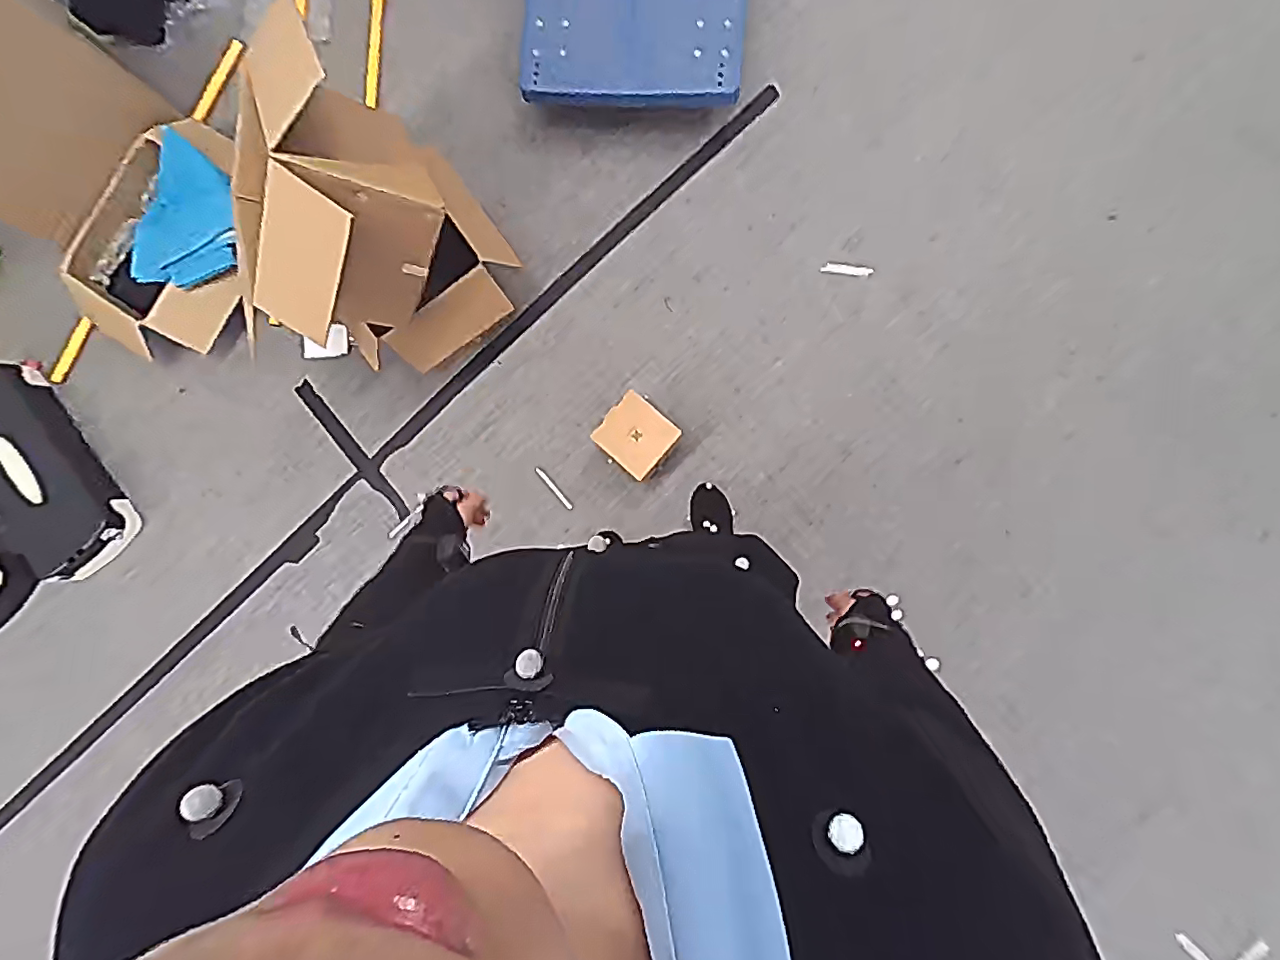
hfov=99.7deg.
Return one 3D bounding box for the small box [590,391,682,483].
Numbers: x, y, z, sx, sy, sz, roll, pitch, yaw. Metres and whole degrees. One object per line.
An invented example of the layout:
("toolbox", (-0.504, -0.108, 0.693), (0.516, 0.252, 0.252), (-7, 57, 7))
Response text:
("small box", (-0.002, -0.108, 1.435), (0.179, 0.176, 0.168), (41, 91, 6))
